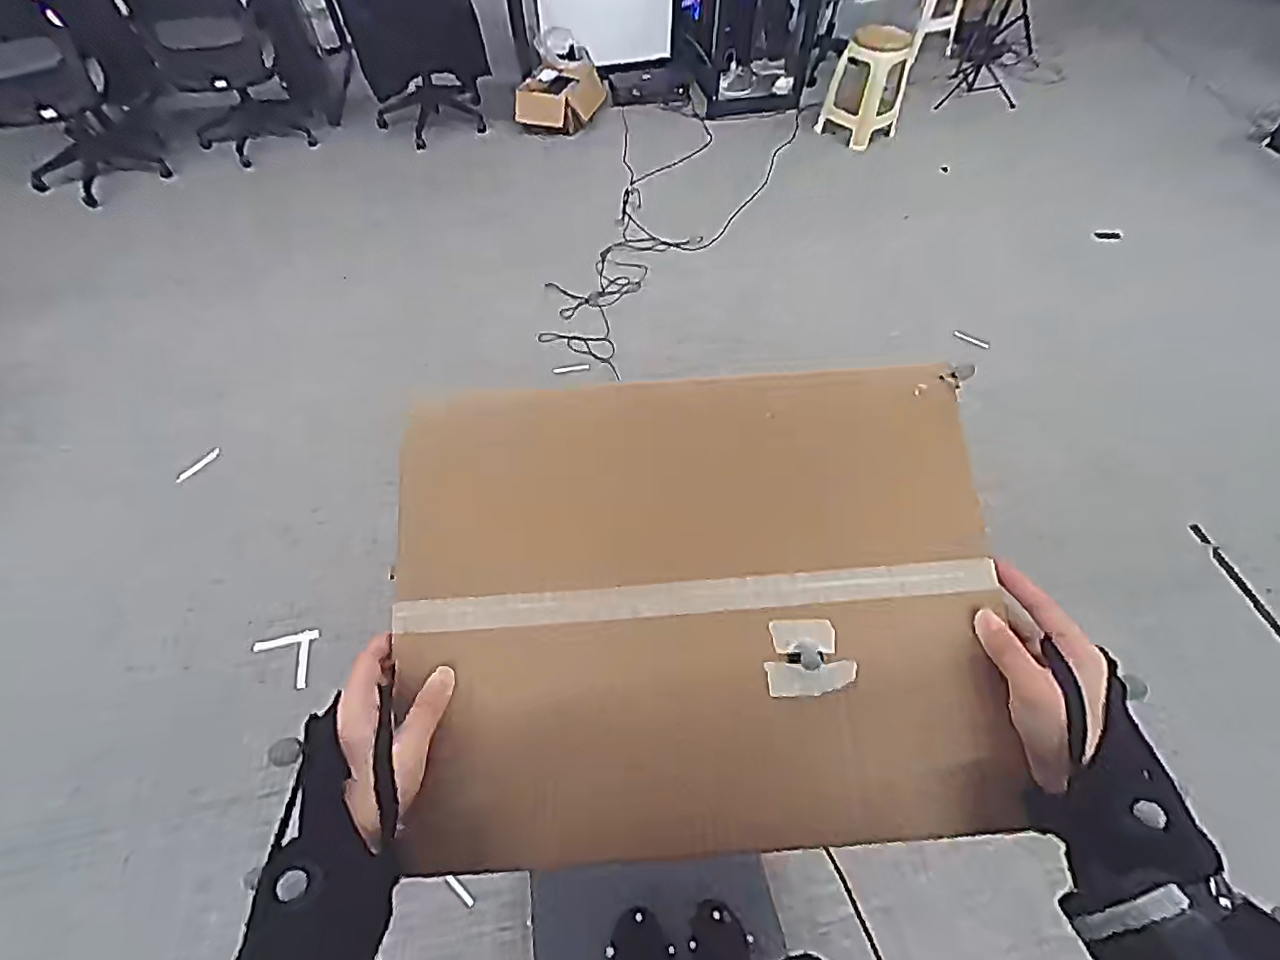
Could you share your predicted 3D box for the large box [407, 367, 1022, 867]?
[{"bbox_3d":[0.036,0.112,0.521,0.408,0.320,0.320,-4,78,-1],"label":"large box"}]
